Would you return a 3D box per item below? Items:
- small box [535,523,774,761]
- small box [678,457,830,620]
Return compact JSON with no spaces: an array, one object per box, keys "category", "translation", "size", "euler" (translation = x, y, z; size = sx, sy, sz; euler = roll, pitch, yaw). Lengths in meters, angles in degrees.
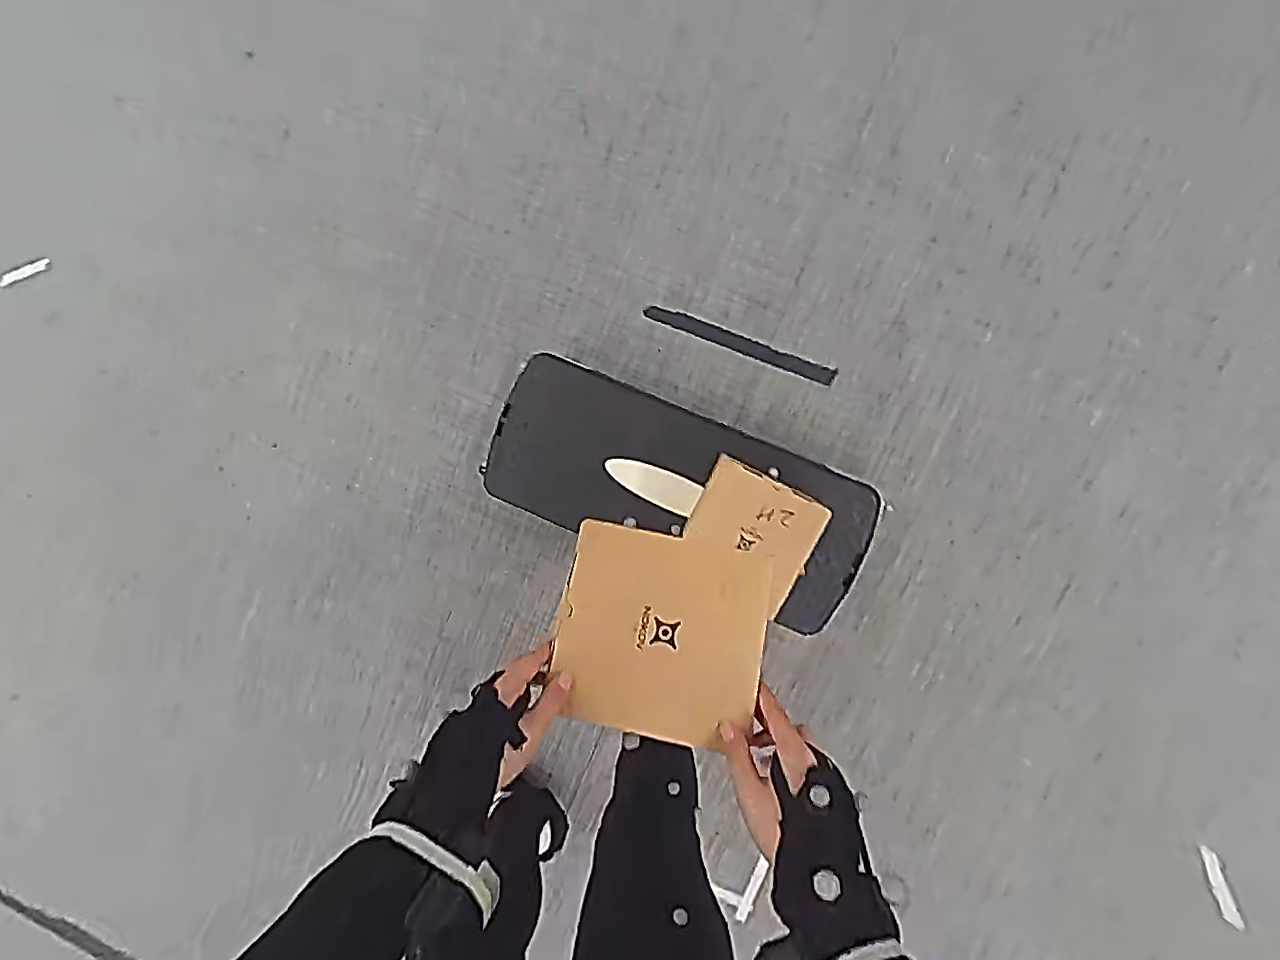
[{"category":"small box","translation":[0.020,0.151,0.524],"size":[0.179,0.176,0.168],"euler":[9,73,7]},{"category":"small box","translation":[0.159,0.077,0.822],"size":[0.168,0.176,0.179],"euler":[27,97,5]}]
